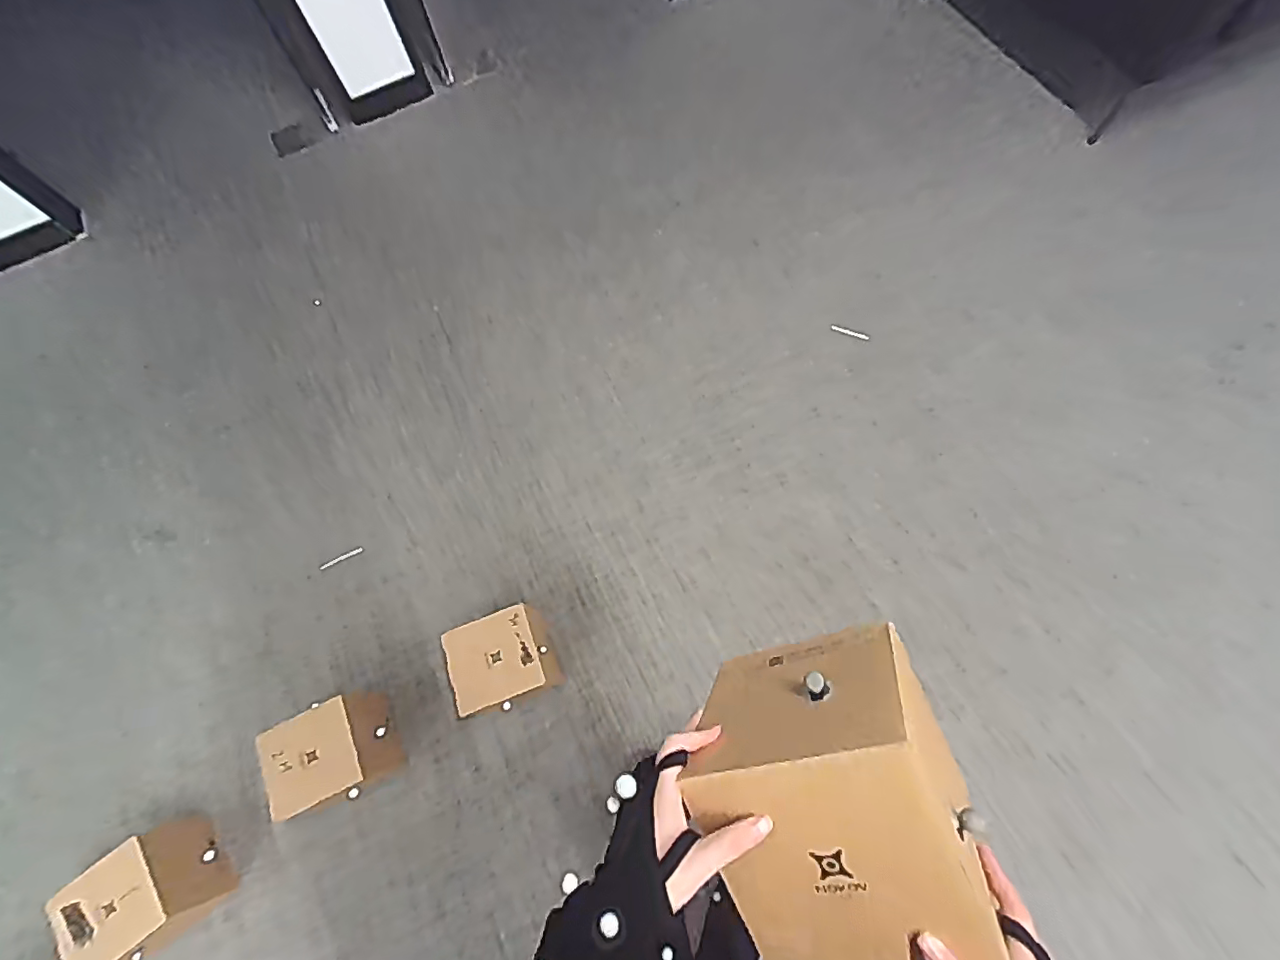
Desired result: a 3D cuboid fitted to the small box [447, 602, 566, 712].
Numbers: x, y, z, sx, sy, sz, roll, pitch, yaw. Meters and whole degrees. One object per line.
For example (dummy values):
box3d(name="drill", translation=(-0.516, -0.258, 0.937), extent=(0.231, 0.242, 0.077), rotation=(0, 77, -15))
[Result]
box3d(name="small box", translation=(-0.274, 0.373, 1.135), extent=(0.179, 0.176, 0.168), rotation=(-21, 70, -3))

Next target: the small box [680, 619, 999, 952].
box3d(name="small box", translation=(0.157, 0.236, 0.453), extent=(0.168, 0.176, 0.179), rotation=(-24, 95, 23))

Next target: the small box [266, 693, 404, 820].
box3d(name="small box", translation=(-0.604, 0.546, 1.096), extent=(0.179, 0.176, 0.168), rotation=(-26, 69, -5))

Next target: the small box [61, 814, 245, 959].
box3d(name="small box", translation=(-0.918, 0.783, 1.032), extent=(0.179, 0.176, 0.168), rotation=(-37, 72, -10))
